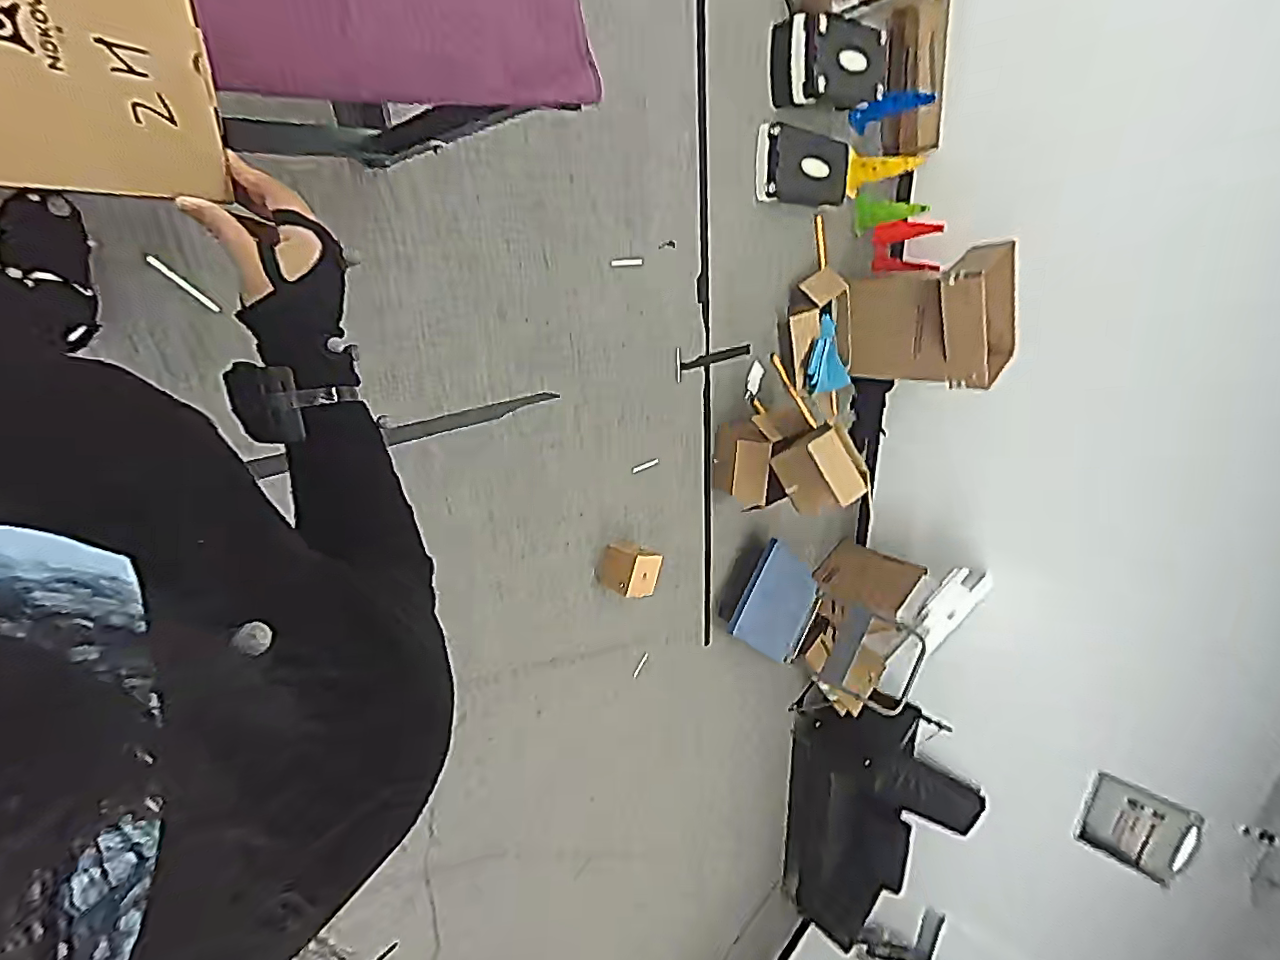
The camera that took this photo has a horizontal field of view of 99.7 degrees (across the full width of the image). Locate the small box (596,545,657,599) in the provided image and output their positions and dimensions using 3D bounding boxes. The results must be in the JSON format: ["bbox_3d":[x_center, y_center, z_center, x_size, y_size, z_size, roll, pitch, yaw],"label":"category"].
[{"bbox_3d":[-0.060,0.377,2.243,0.168,0.176,0.179,9,97,-49],"label":"small box"}]
